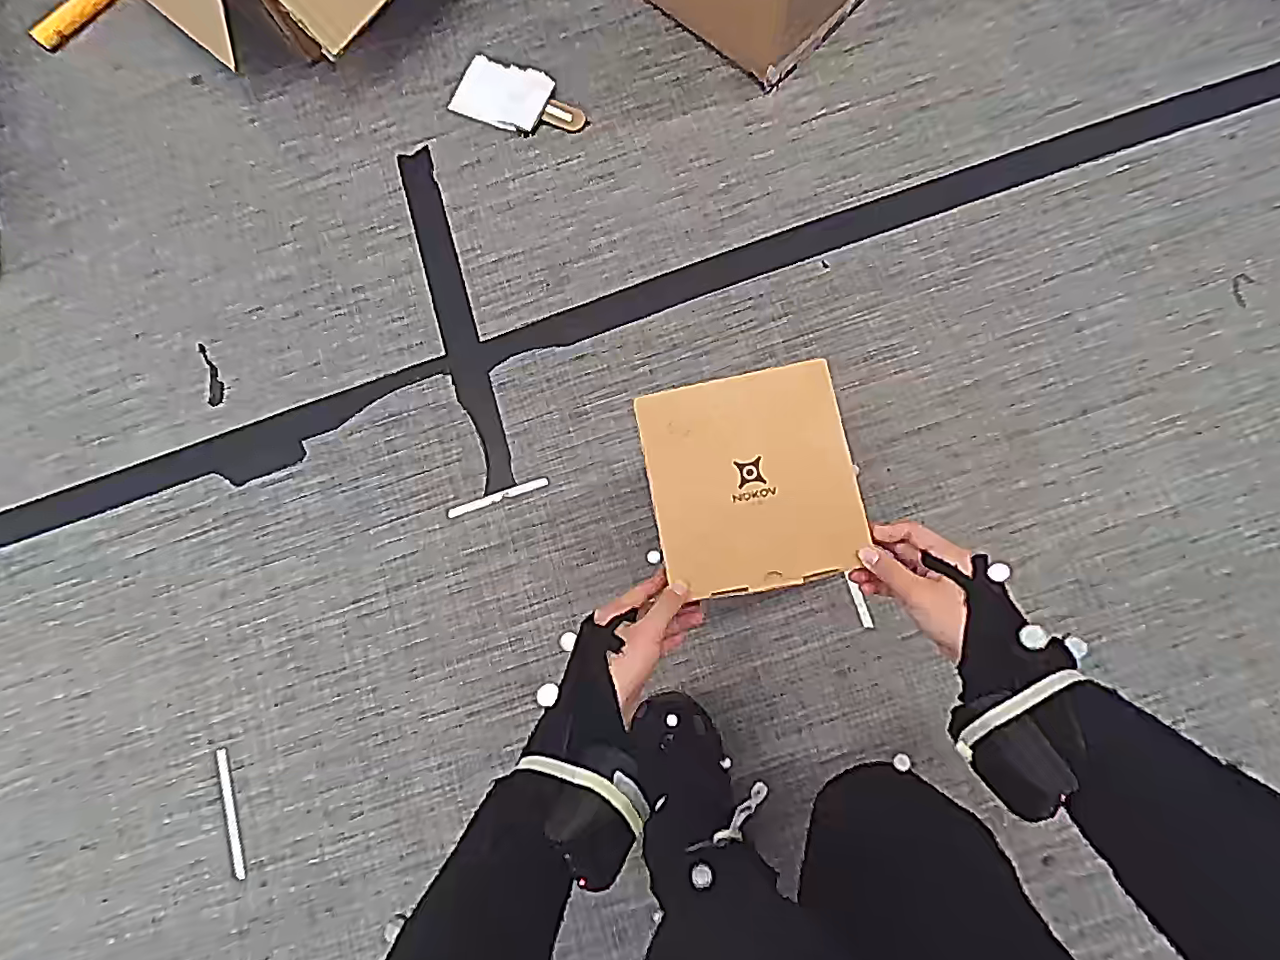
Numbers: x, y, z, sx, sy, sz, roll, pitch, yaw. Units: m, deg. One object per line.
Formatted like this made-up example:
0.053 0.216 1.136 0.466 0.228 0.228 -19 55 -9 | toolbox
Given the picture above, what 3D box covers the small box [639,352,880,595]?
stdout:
0.096 0.004 0.515 0.168 0.176 0.179 -12 82 2 | small box
